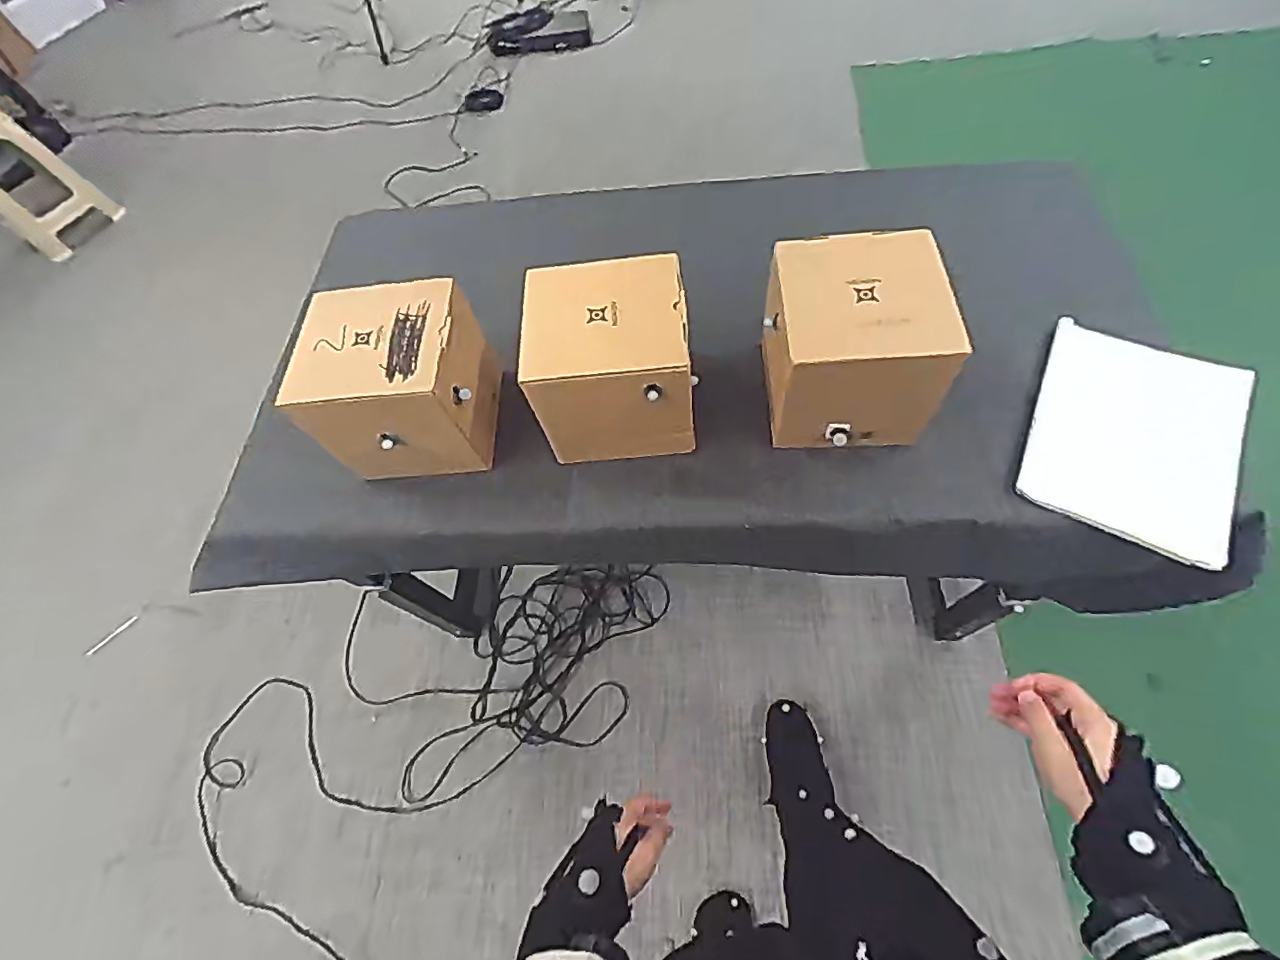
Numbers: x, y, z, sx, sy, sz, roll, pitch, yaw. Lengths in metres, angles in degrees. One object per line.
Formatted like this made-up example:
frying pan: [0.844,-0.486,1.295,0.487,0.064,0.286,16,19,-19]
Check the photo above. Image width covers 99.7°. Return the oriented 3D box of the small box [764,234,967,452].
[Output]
small box: [0.239,-0.150,0.626,0.168,0.176,0.179,-3,62,7]

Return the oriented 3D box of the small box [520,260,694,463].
small box: [-0.031,-0.133,0.651,0.179,0.176,0.168,-5,61,4]
